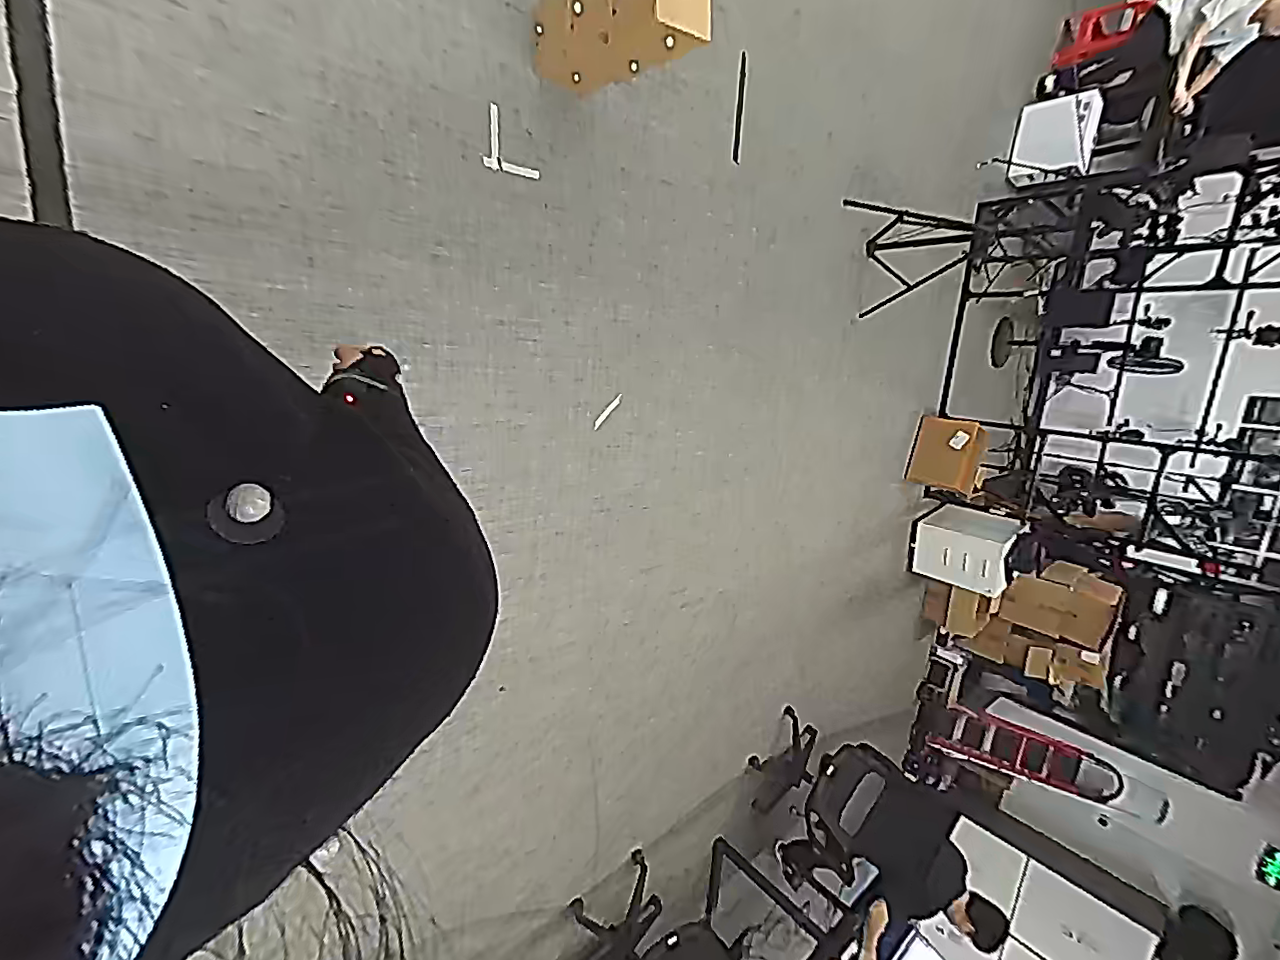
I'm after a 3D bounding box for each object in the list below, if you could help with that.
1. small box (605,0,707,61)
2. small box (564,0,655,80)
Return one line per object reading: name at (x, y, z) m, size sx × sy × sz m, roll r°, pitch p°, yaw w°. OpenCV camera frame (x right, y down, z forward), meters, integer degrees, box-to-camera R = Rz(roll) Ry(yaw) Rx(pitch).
small box at (0.038, -1.105, 1.249) m, size 0.179 × 0.176 × 0.168 m, roll -16°, pitch 113°, yaw -38°
small box at (-0.068, -1.152, 1.363) m, size 0.179 × 0.176 × 0.168 m, roll -1°, pitch 102°, yaw -41°
